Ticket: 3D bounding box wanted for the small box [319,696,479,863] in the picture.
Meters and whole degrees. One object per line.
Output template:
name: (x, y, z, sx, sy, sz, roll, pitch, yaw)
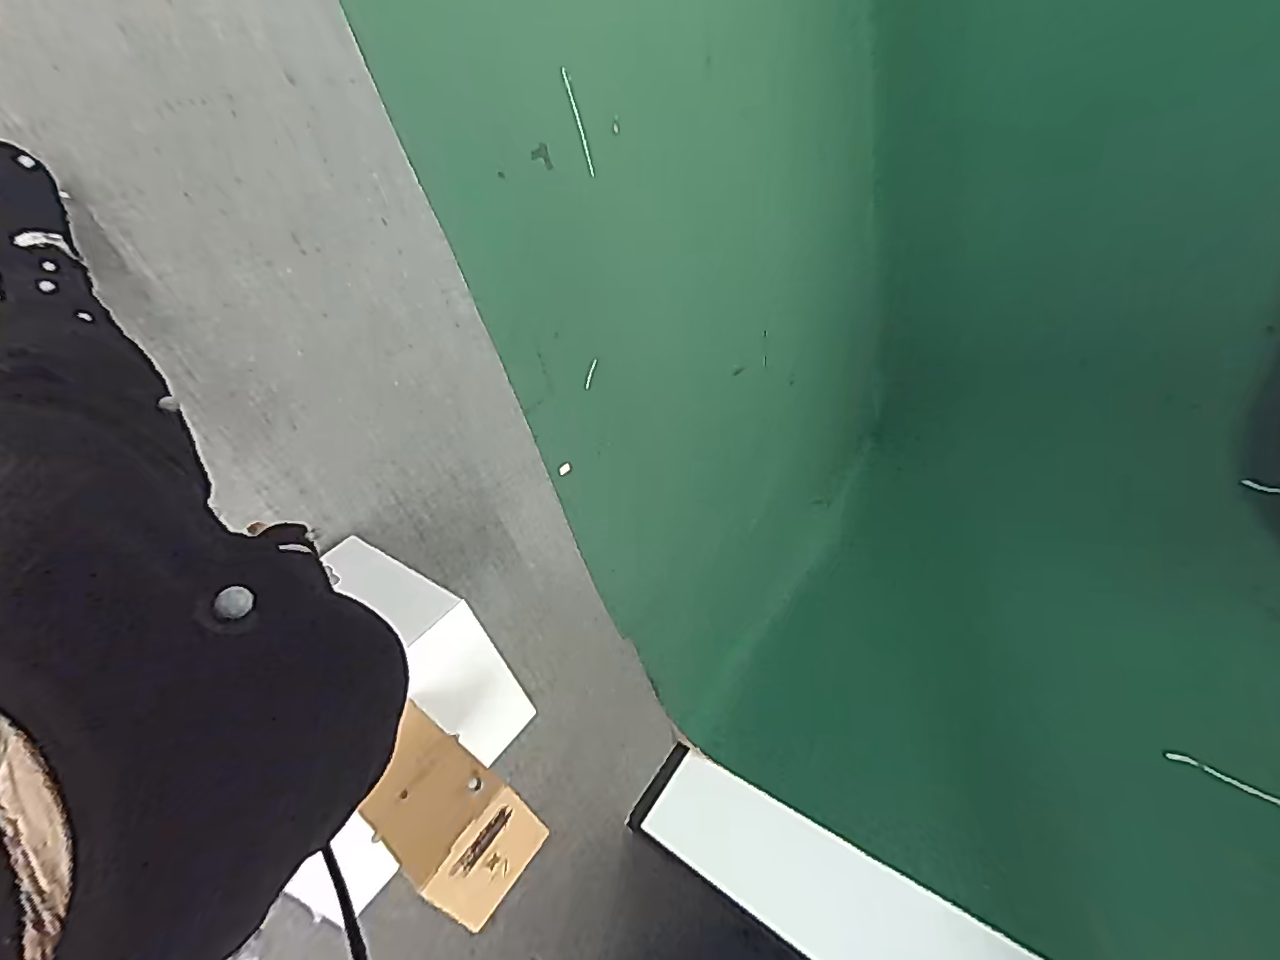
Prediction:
small box: (-0.430, 0.526, 0.971, 0.168, 0.176, 0.179, -43, 130, -34)
